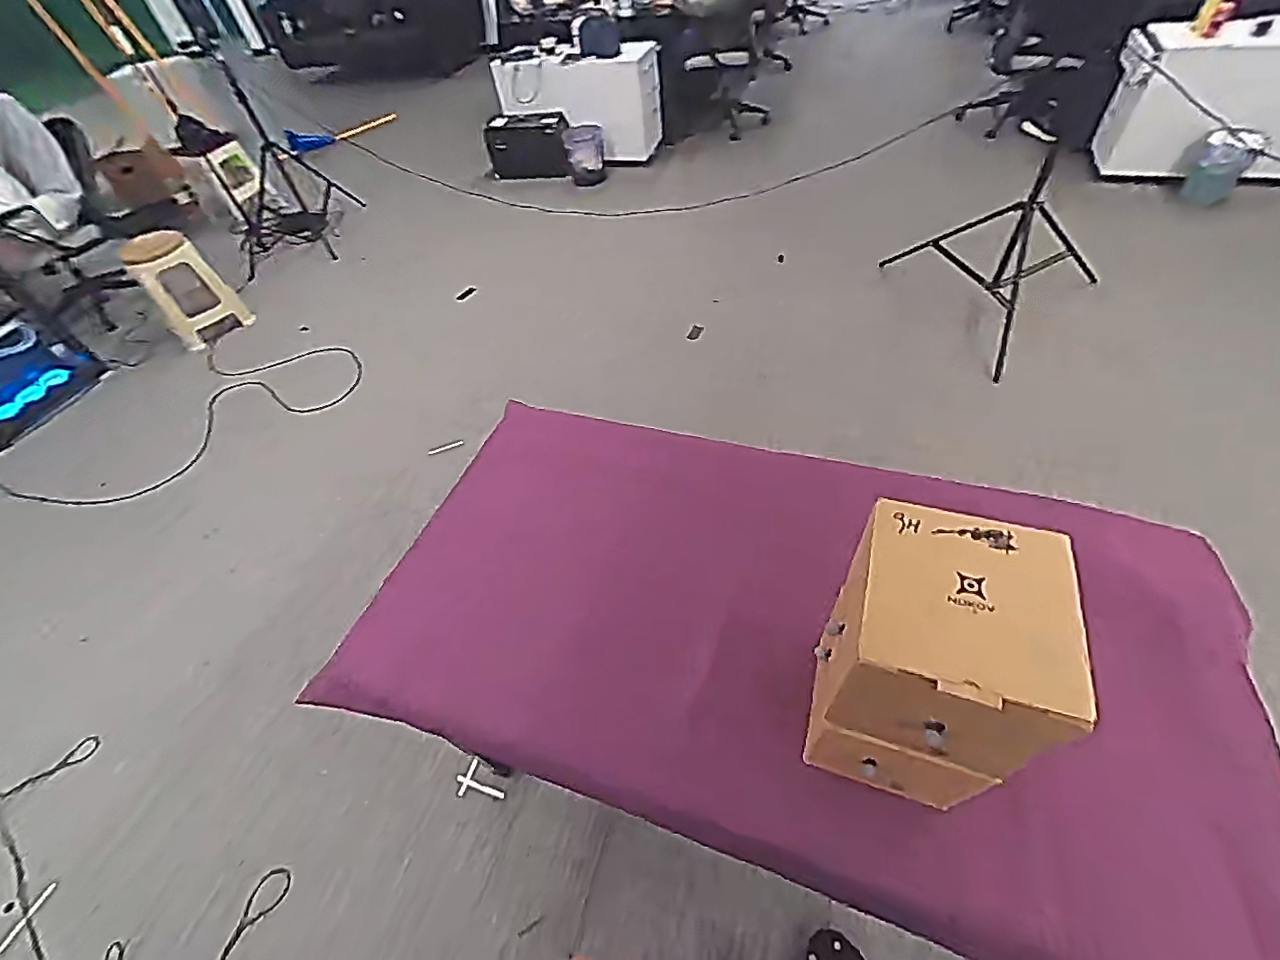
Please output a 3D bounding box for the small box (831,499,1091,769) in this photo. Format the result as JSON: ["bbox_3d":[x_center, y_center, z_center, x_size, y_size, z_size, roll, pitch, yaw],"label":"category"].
[{"bbox_3d":[0.290,0.150,0.522,0.168,0.176,0.179,13,53,18],"label":"small box"}]

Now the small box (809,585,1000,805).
[{"bbox_3d":[0.304,0.258,0.645,0.168,0.176,0.179,12,52,17],"label":"small box"}]
